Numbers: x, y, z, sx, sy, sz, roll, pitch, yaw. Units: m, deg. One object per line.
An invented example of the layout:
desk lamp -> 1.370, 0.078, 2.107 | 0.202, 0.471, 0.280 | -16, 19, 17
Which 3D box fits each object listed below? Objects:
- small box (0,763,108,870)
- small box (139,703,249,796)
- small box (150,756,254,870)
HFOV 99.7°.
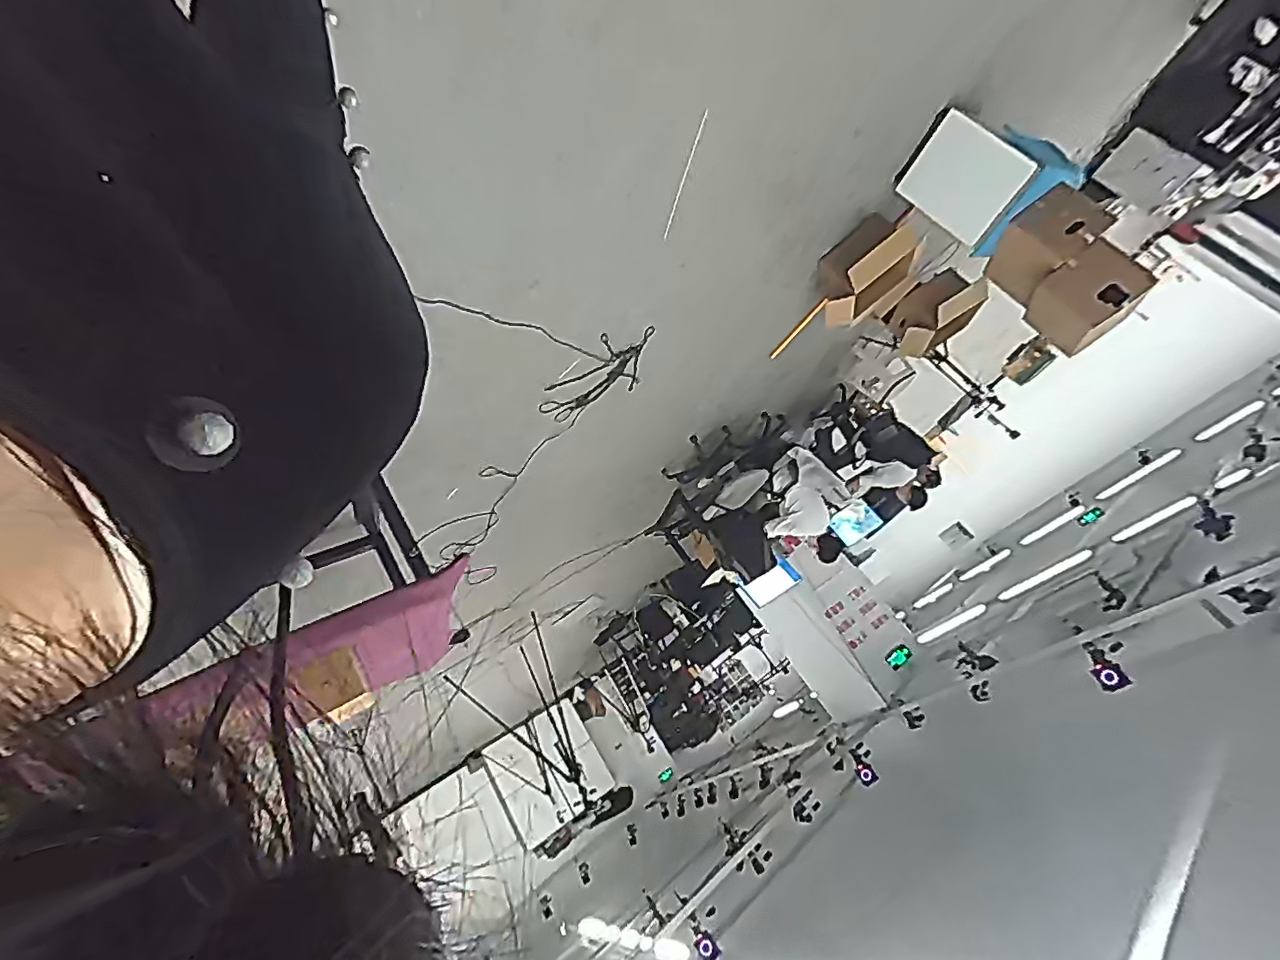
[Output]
small box -> -1.434, 0.815, 1.292 | 0.179, 0.176, 0.168 | -24, 156, -30
small box -> -1.212, 0.735, 1.474 | 0.168, 0.176, 0.179 | -25, 157, -28
small box -> -1.126, 0.851, 1.391 | 0.179, 0.176, 0.168 | -18, 154, -41
